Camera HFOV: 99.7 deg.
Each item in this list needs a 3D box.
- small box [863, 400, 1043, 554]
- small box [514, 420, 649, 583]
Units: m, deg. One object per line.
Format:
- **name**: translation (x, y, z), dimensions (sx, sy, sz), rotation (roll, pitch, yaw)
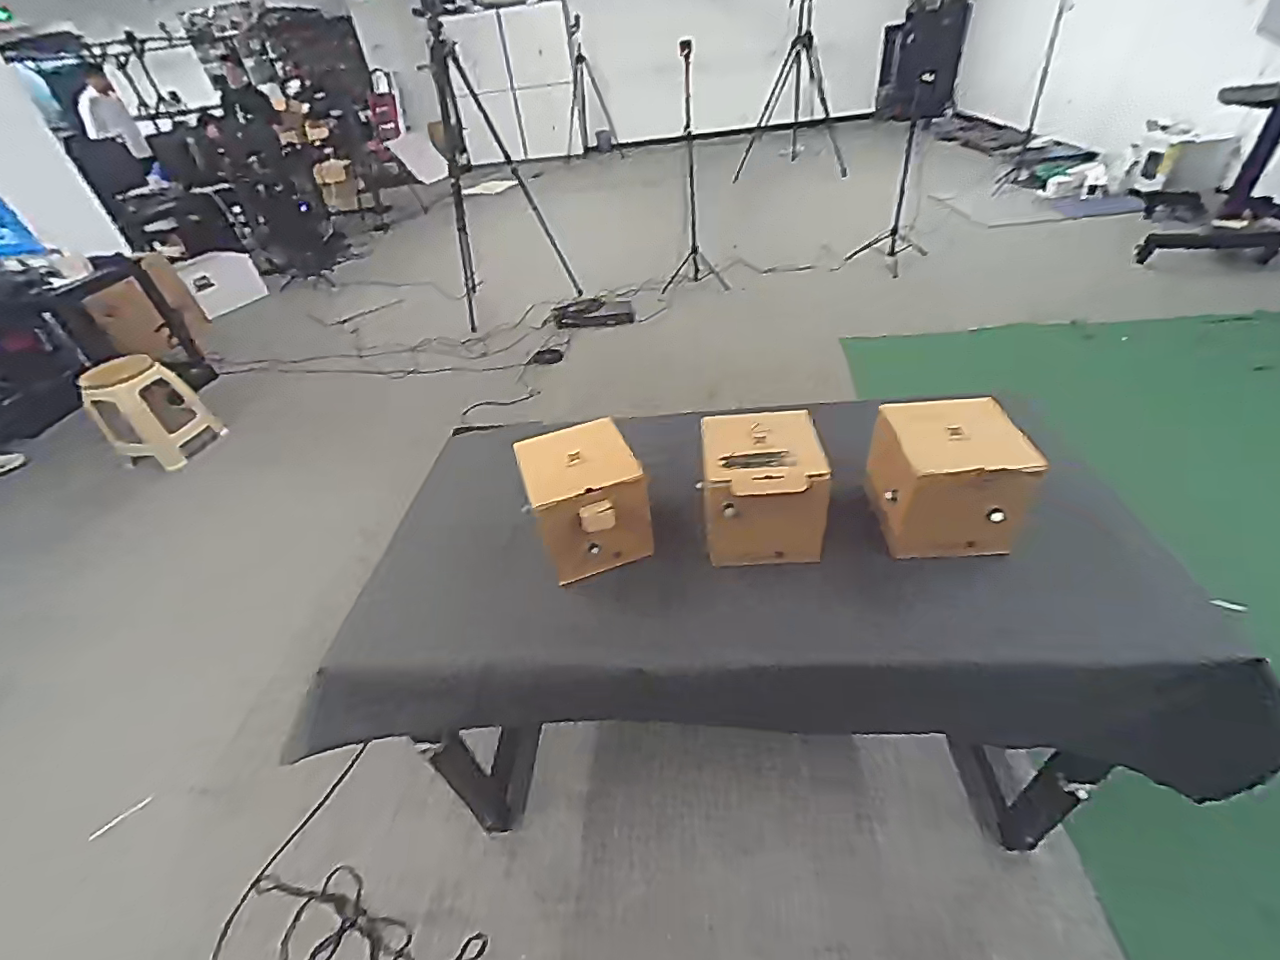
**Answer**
- **small box**: translation (0.452, -0.001, 0.816), dimensions (0.168, 0.176, 0.179), rotation (-3, 38, 5)
- **small box**: translation (-0.092, 0.032, 0.871), dimensions (0.168, 0.176, 0.179), rotation (-17, 40, -12)
